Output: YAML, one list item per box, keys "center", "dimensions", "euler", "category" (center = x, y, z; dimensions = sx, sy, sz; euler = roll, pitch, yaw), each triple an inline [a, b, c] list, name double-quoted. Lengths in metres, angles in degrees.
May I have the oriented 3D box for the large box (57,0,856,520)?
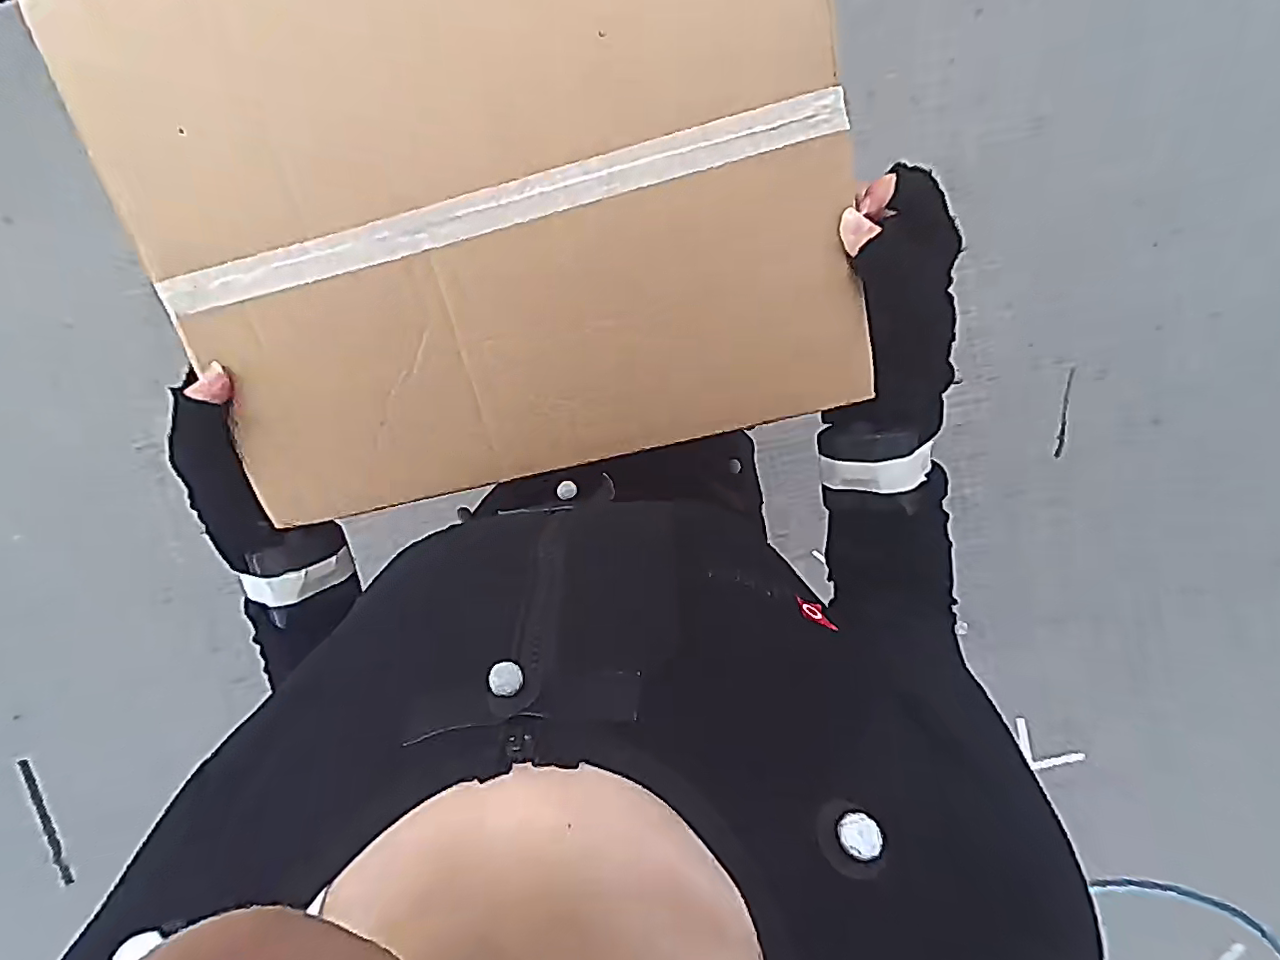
- center: [-0.084, -0.203, 0.456]
  dimensions: [0.408, 0.320, 0.320]
  euler: [-12, 107, 6]
  category: "large box"
